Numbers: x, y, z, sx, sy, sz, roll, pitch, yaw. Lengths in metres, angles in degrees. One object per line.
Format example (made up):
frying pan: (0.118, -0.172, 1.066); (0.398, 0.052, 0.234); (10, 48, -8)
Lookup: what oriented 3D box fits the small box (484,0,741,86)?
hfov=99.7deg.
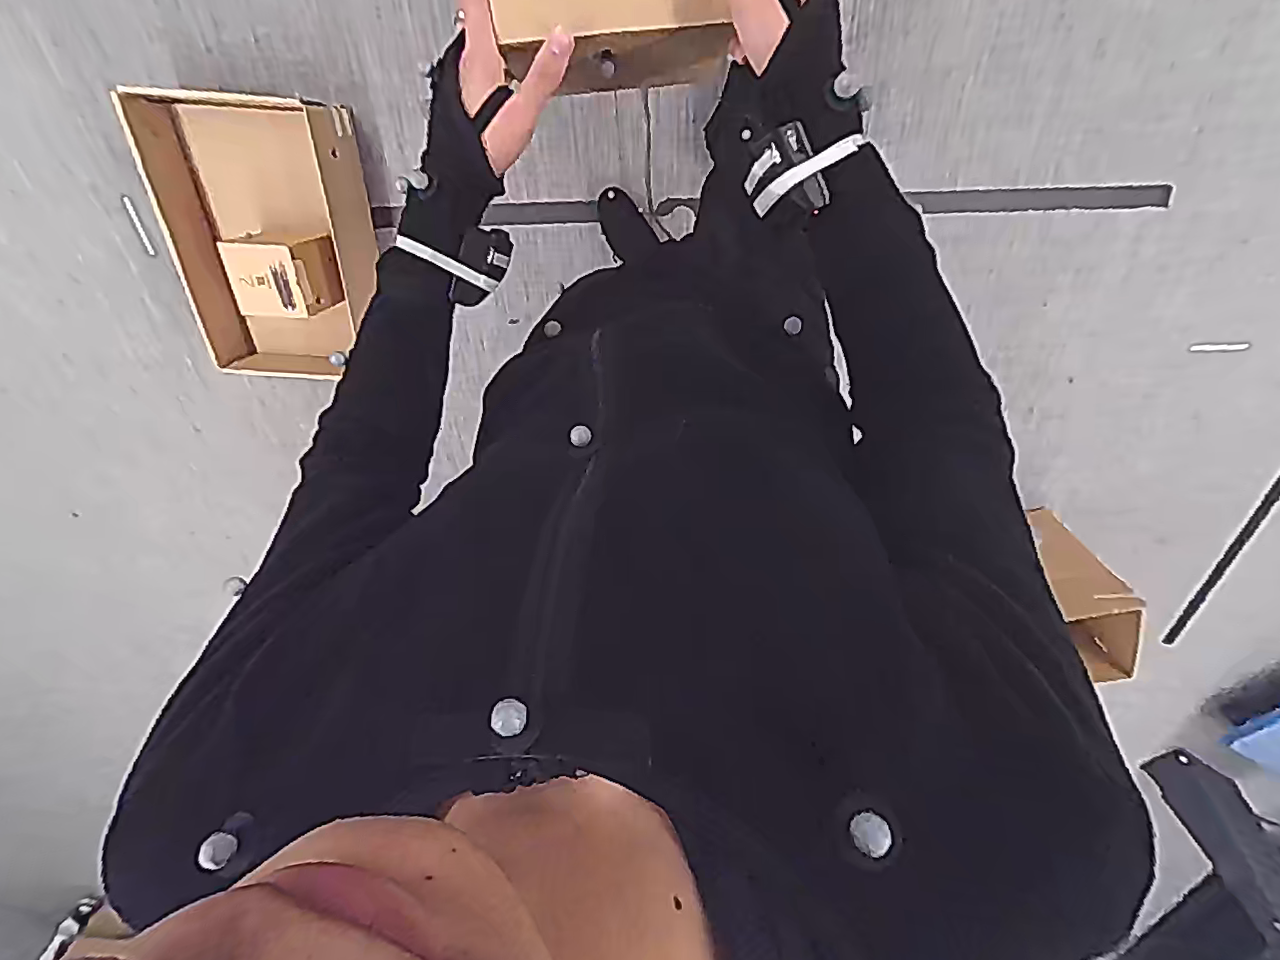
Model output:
small box: (-0.026, -0.419, 0.408); (0.179, 0.176, 0.168); (-6, 116, -1)
